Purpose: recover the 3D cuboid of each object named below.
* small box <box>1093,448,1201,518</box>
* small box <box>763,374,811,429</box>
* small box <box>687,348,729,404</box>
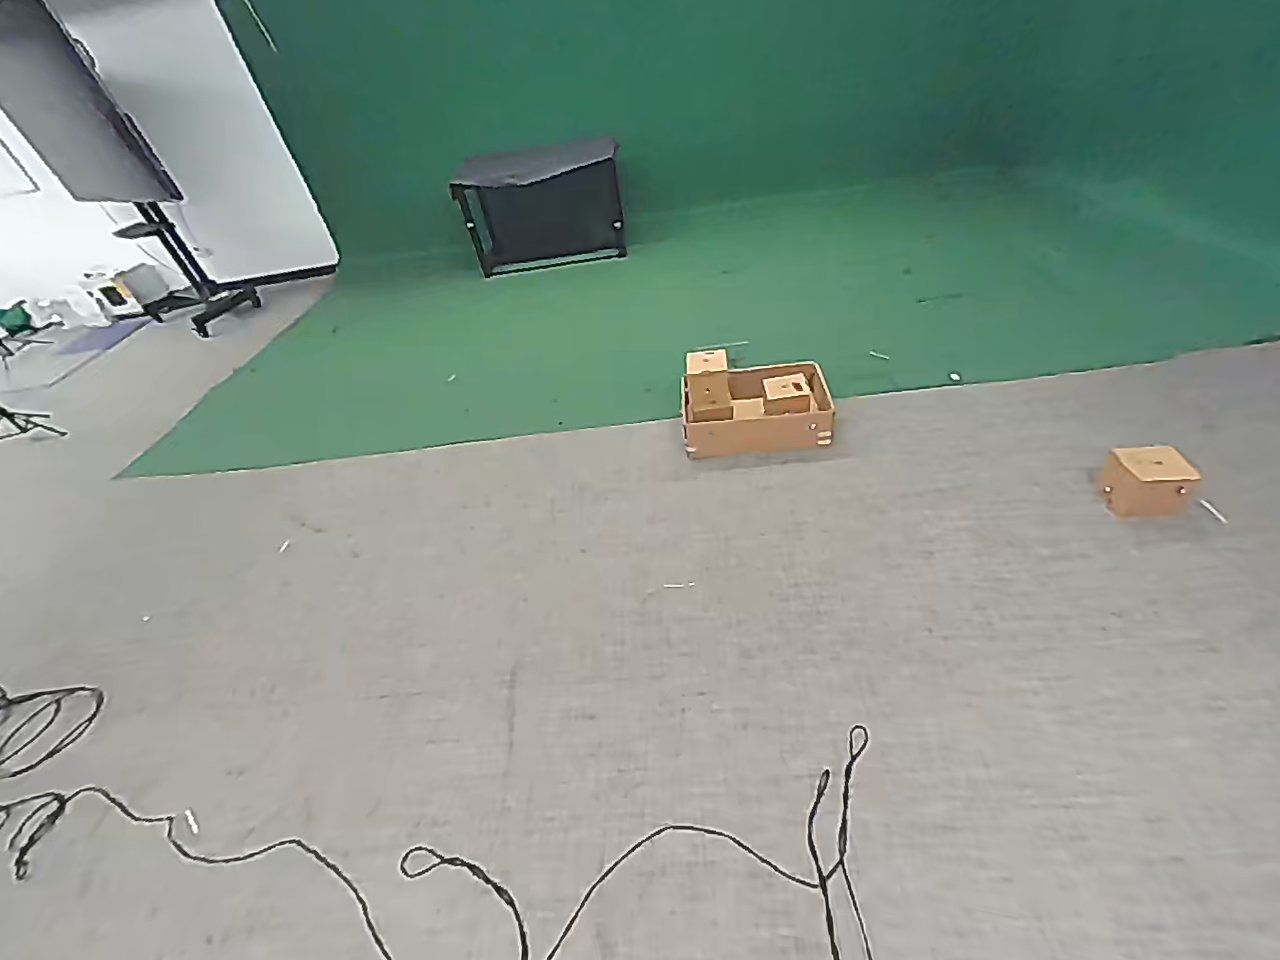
[{"bbox_3d":[1.672,0.012,1.797,0.179,0.176,0.168,-2,41,10],"label":"small box"},{"bbox_3d":[0.631,-0.338,2.337,0.179,0.176,0.168,-6,42,8],"label":"small box"},{"bbox_3d":[0.286,-0.429,2.267,0.168,0.176,0.179,-4,43,9],"label":"small box"}]
